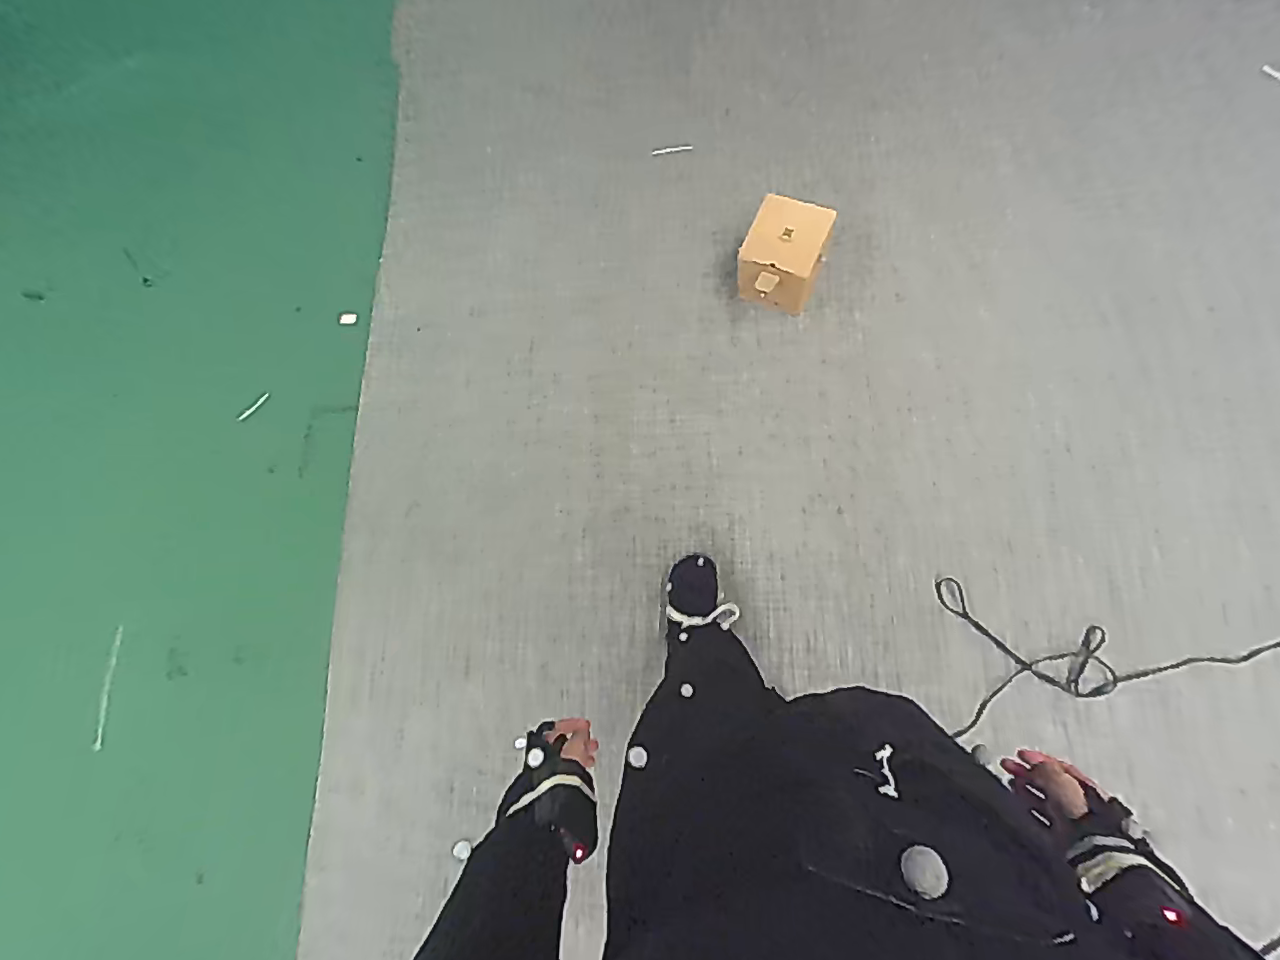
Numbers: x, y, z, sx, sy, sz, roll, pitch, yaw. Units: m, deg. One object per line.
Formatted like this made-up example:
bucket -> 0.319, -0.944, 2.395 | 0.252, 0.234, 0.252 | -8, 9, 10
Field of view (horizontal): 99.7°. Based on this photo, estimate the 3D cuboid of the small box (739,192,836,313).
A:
small box -> 0.338, -0.529, 1.274 | 0.168, 0.176, 0.179 | 23, 83, 14
